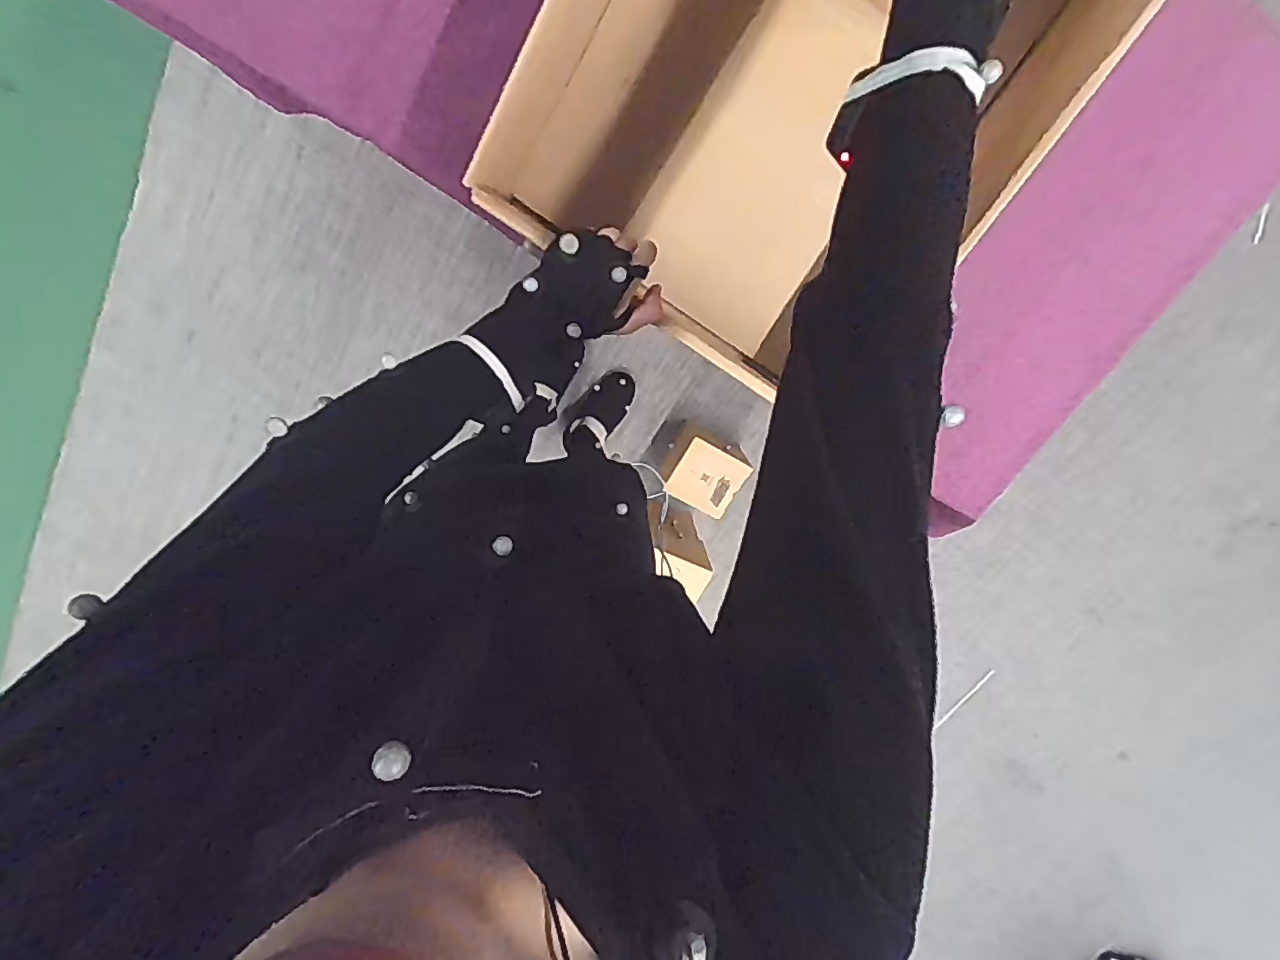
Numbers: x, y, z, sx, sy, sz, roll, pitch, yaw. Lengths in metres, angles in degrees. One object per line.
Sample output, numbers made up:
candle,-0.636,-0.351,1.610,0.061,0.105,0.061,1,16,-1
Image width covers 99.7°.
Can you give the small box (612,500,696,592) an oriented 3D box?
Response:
small box,0.031,0.176,1.511,0.179,0.176,0.168,24,108,-12
